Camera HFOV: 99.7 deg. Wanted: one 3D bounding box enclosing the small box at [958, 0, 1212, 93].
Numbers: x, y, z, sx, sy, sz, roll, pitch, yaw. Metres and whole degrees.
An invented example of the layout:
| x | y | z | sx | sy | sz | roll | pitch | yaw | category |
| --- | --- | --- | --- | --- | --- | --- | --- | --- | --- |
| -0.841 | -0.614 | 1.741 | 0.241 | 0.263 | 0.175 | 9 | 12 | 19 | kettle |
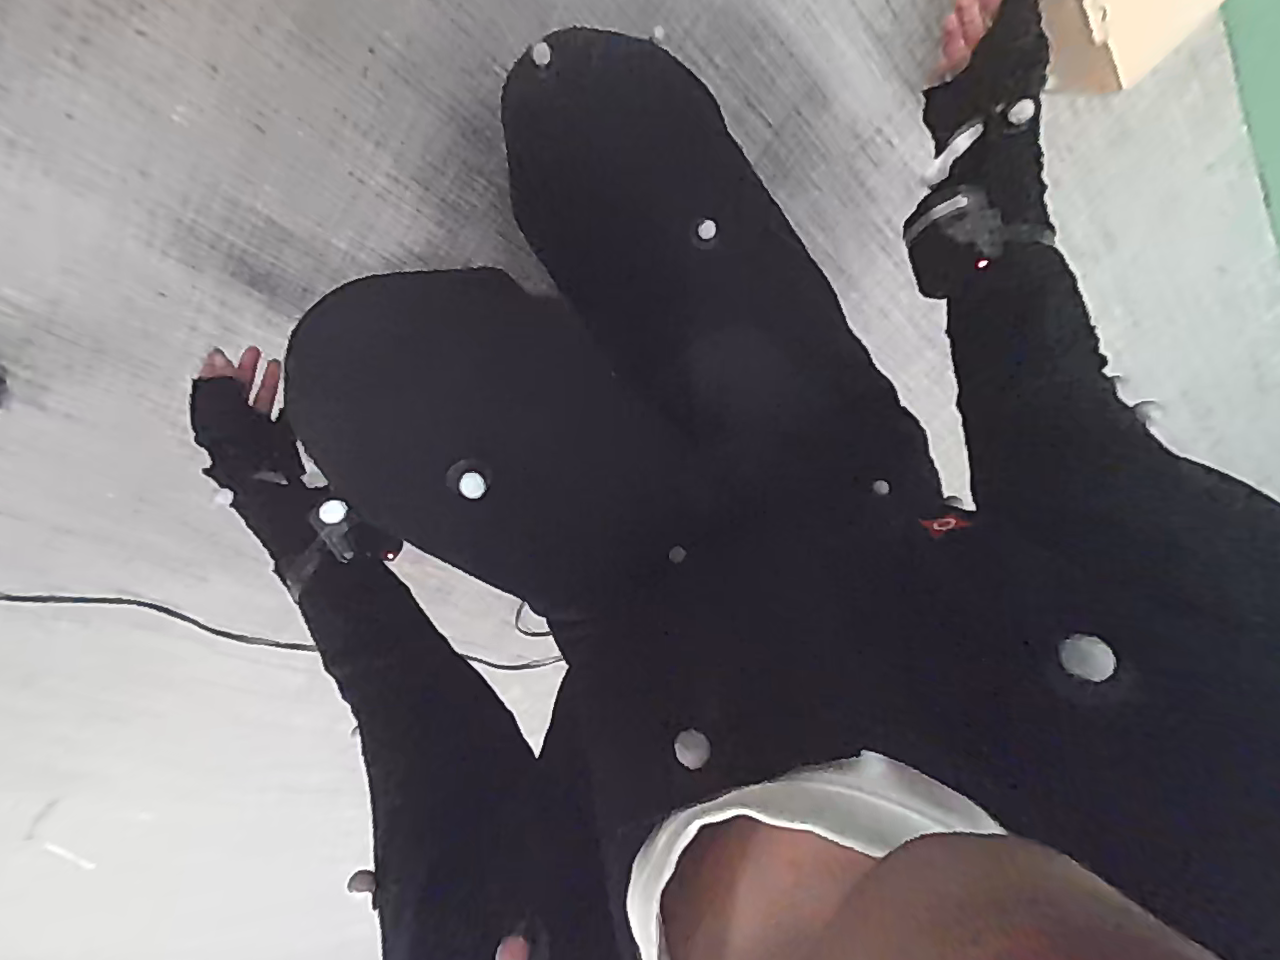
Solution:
| x | y | z | sx | sy | sz | roll | pitch | yaw | category |
| --- | --- | --- | --- | --- | --- | --- | --- | --- | --- |
| 0.423 | -0.502 | 0.499 | 0.168 | 0.176 | 0.179 | 32 | 113 | -33 | small box |
